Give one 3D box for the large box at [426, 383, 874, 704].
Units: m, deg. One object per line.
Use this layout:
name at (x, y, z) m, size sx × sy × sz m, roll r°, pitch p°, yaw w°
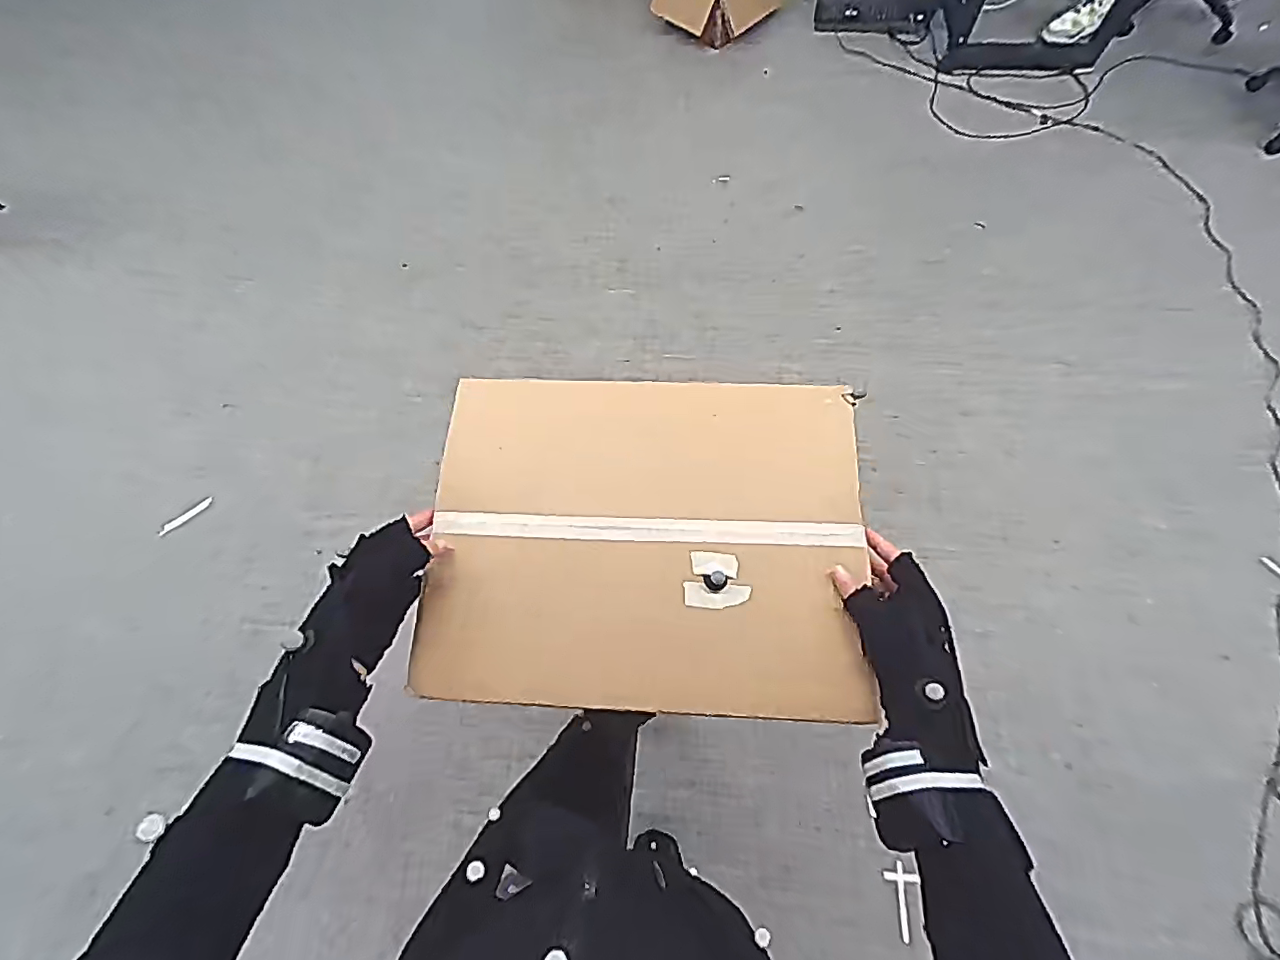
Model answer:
large box at (0.014, 0.094, 0.662) m, size 0.408 × 0.320 × 0.320 m, roll 2°, pitch 71°, yaw 3°
